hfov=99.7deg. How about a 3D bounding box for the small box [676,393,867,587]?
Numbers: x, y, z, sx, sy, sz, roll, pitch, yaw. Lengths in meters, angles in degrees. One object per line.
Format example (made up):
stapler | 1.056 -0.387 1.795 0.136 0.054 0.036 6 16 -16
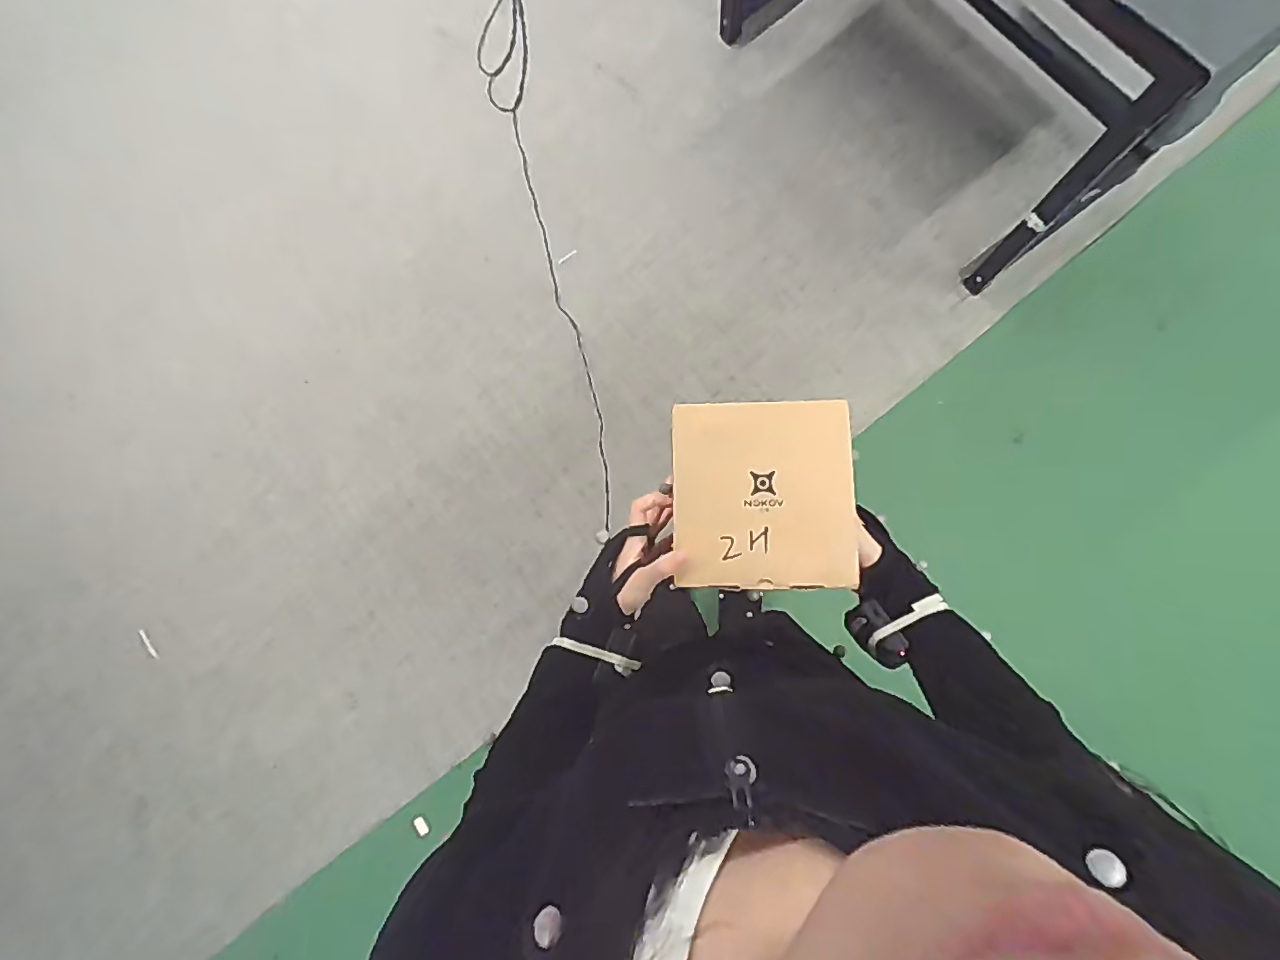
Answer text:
small box | 0.120 0.021 0.564 0.168 0.176 0.179 -1 80 5
